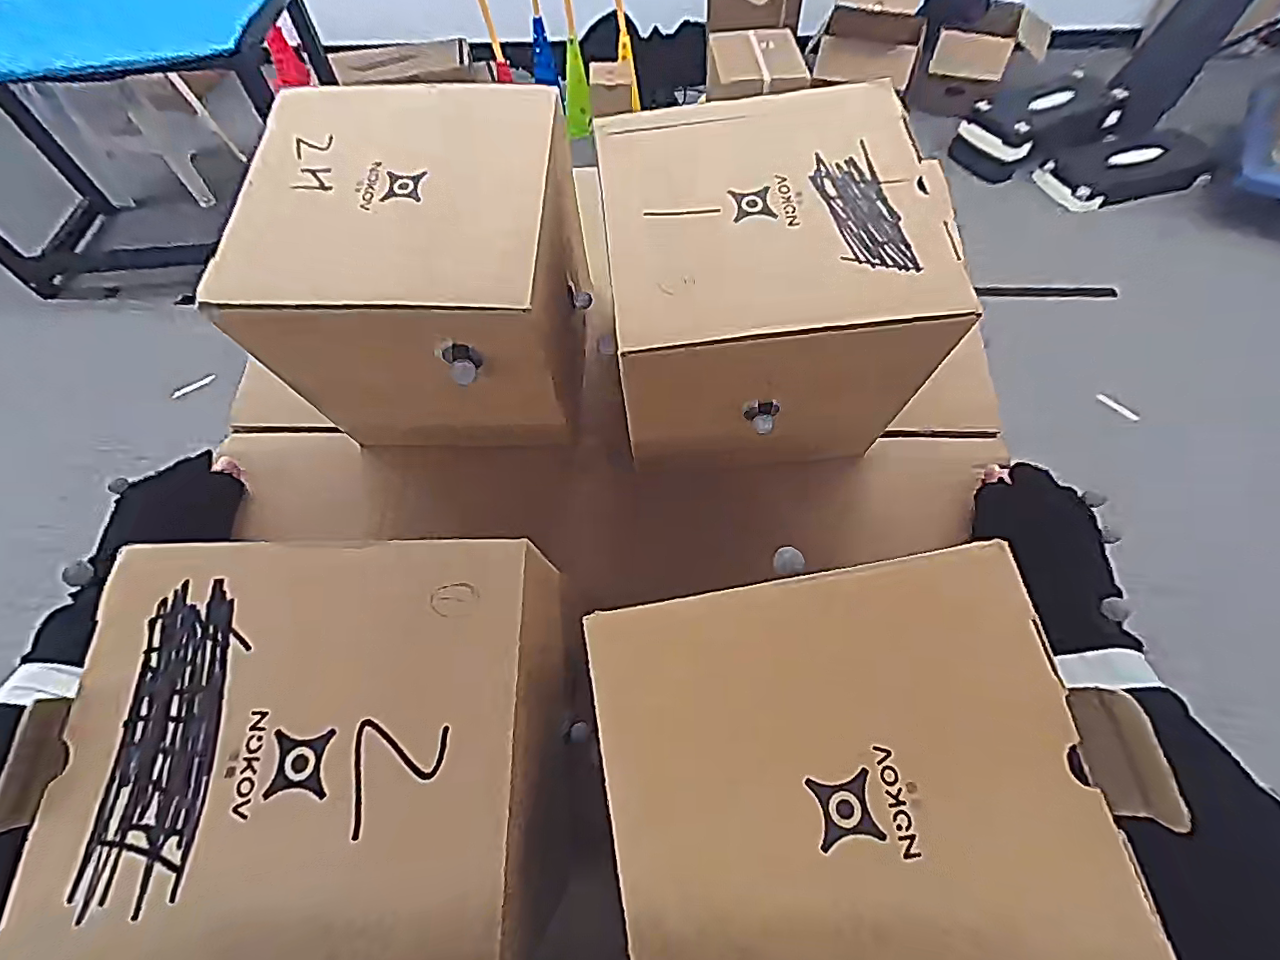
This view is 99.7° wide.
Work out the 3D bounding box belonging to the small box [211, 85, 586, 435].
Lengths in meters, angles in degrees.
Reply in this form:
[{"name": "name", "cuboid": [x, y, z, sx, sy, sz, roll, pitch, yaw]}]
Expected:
[{"name": "small box", "cuboid": [-0.138, -0.141, 0.388, 0.179, 0.176, 0.168, 2, 68, 3]}]
